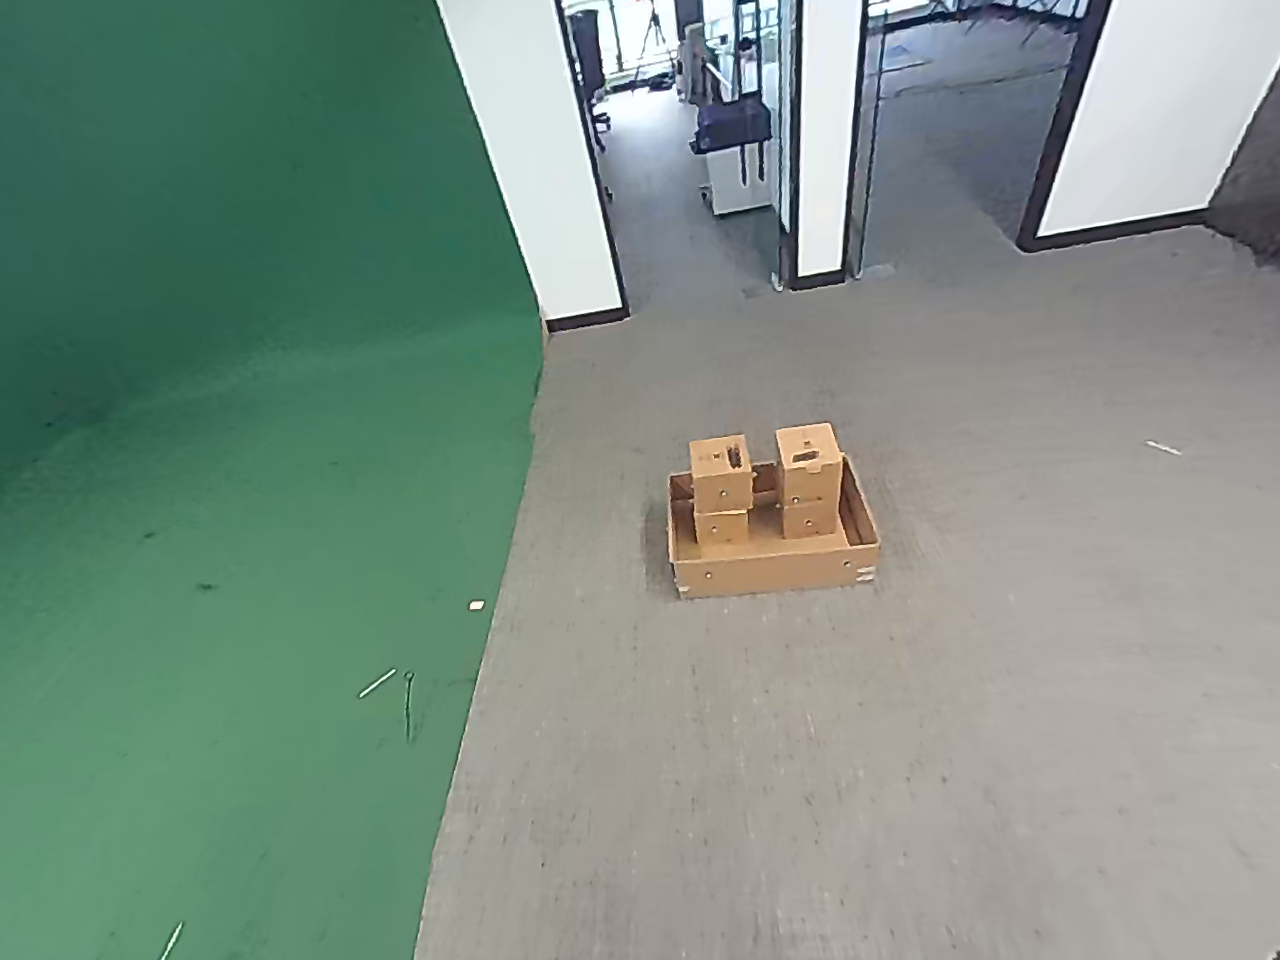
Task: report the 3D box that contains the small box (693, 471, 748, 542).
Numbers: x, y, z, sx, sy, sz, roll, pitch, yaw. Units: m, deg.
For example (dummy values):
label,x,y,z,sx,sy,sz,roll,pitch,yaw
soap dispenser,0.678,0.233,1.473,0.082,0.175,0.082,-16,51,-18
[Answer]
label,x,y,z,sx,sy,sz,roll,pitch,yaw
small box,0.271,0.095,1.809,0.168,0.176,0.179,-4,45,10

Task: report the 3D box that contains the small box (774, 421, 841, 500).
label,x,y,z,sx,sy,sz,roll,pitch,yaw
small box,0.509,-0.052,1.654,0.168,0.176,0.179,-7,46,8

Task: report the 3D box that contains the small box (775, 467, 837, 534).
label,x,y,z,sx,sy,sz,roll,pitch,yaw
small box,0.540,0.062,1.769,0.168,0.176,0.179,-7,46,8
